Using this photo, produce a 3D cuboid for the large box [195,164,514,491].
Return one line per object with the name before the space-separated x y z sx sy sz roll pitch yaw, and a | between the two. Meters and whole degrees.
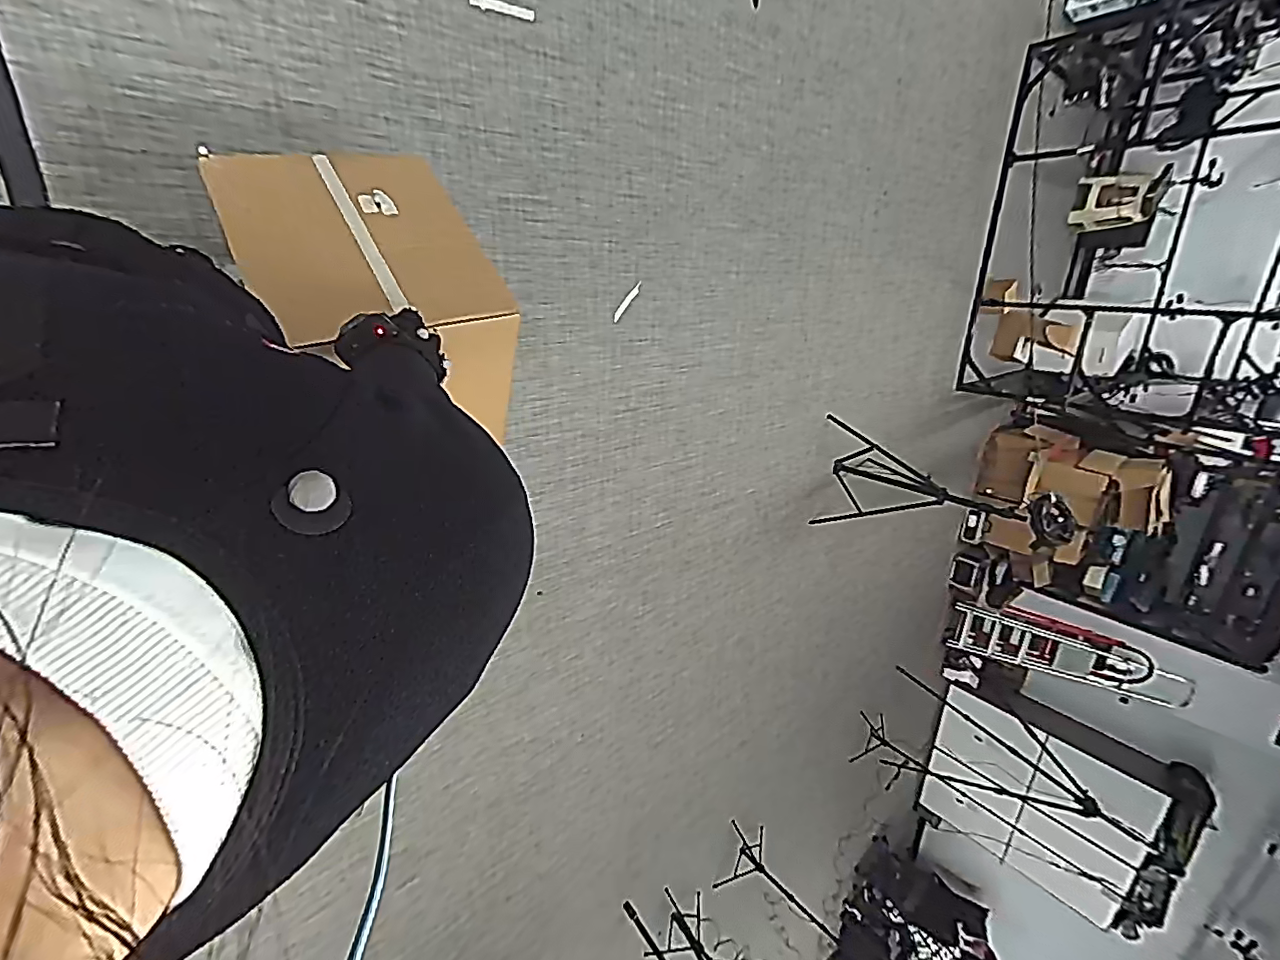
large box | -0.450 -0.257 0.896 0.320 0.408 0.320 -21 154 -32
